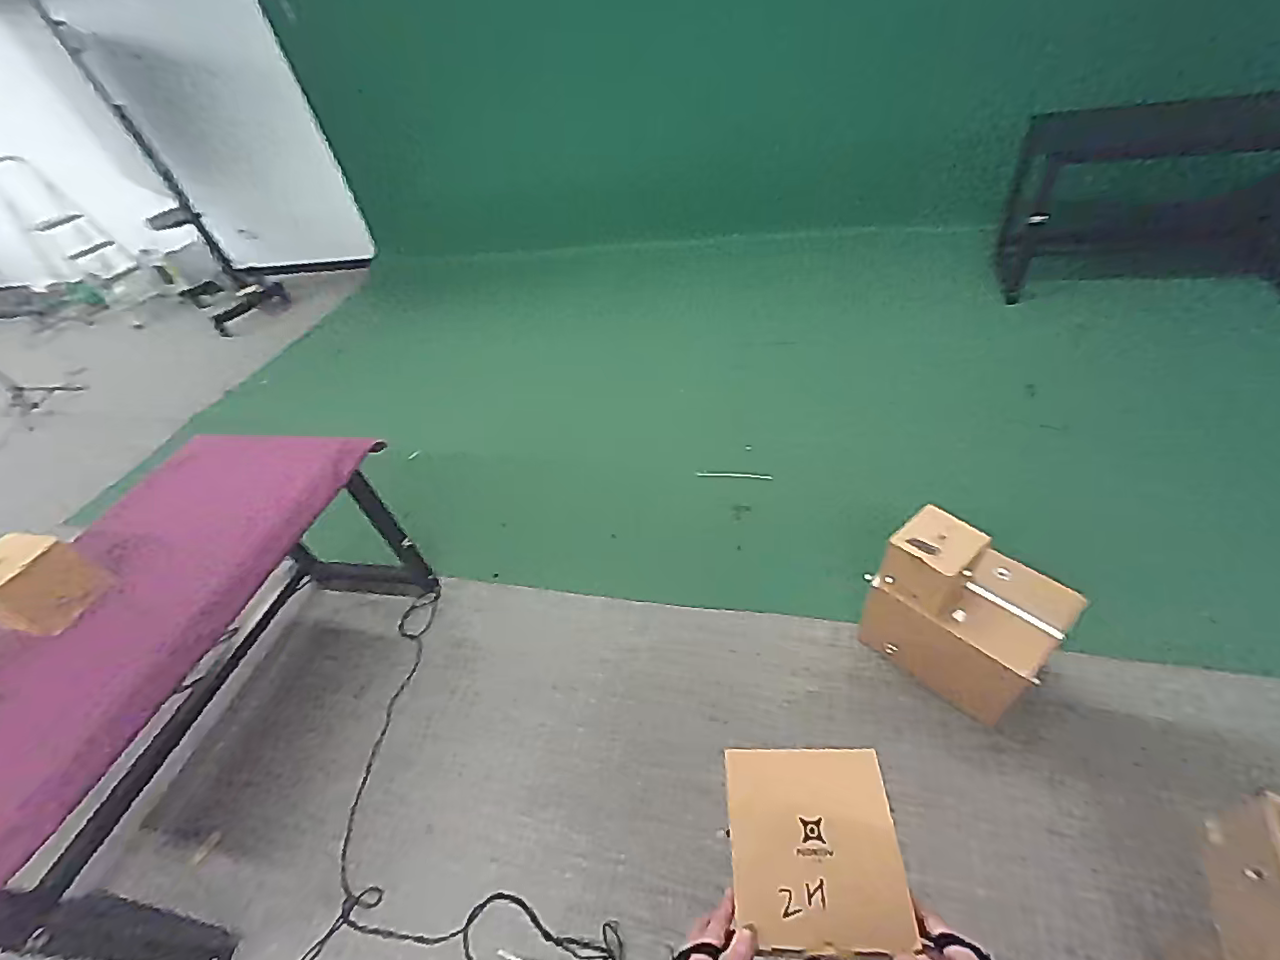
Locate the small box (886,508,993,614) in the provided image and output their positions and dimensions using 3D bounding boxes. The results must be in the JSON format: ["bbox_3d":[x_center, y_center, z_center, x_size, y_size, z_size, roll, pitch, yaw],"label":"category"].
[{"bbox_3d":[0.764,0.212,1.400,0.179,0.176,0.168,-33,48,-21],"label":"small box"}]

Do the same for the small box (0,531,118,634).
[{"bbox_3d":[-1.405,0.239,1.260,0.179,0.176,0.168,3,45,15],"label":"small box"}]

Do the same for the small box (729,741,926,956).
[{"bbox_3d":[0.187,0.411,0.604,0.168,0.176,0.179,-4,48,7],"label":"small box"}]
